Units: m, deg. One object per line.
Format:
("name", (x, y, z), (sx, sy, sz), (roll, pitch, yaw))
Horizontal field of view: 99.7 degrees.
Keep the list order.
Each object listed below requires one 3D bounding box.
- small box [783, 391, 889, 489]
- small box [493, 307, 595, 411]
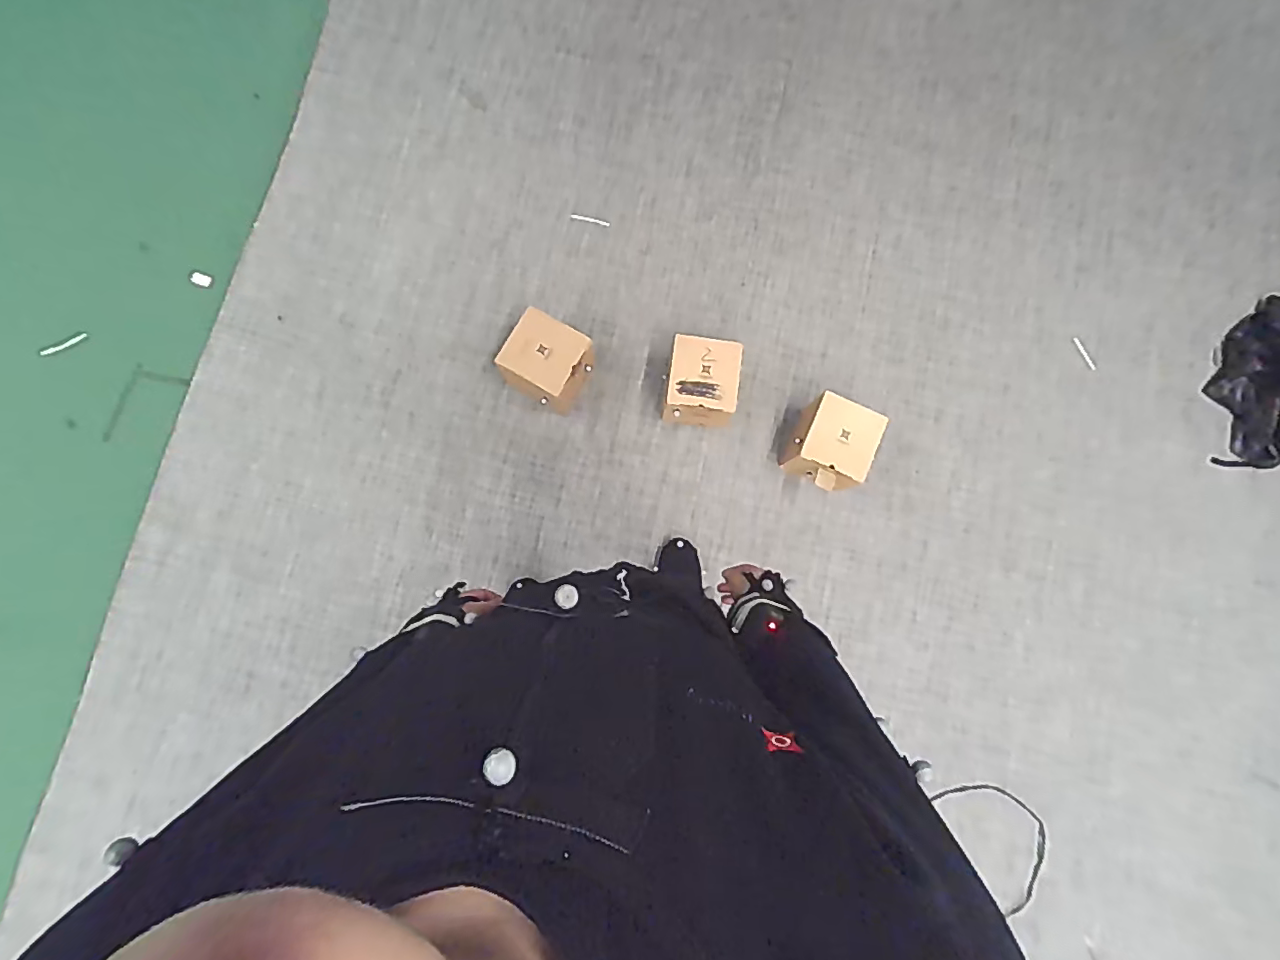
("small box", (0.475, -0.092, 1.340), (0.168, 0.176, 0.179), (24, 83, 0))
("small box", (-0.226, -0.286, 1.332), (0.179, 0.176, 0.168), (28, 82, 5))
